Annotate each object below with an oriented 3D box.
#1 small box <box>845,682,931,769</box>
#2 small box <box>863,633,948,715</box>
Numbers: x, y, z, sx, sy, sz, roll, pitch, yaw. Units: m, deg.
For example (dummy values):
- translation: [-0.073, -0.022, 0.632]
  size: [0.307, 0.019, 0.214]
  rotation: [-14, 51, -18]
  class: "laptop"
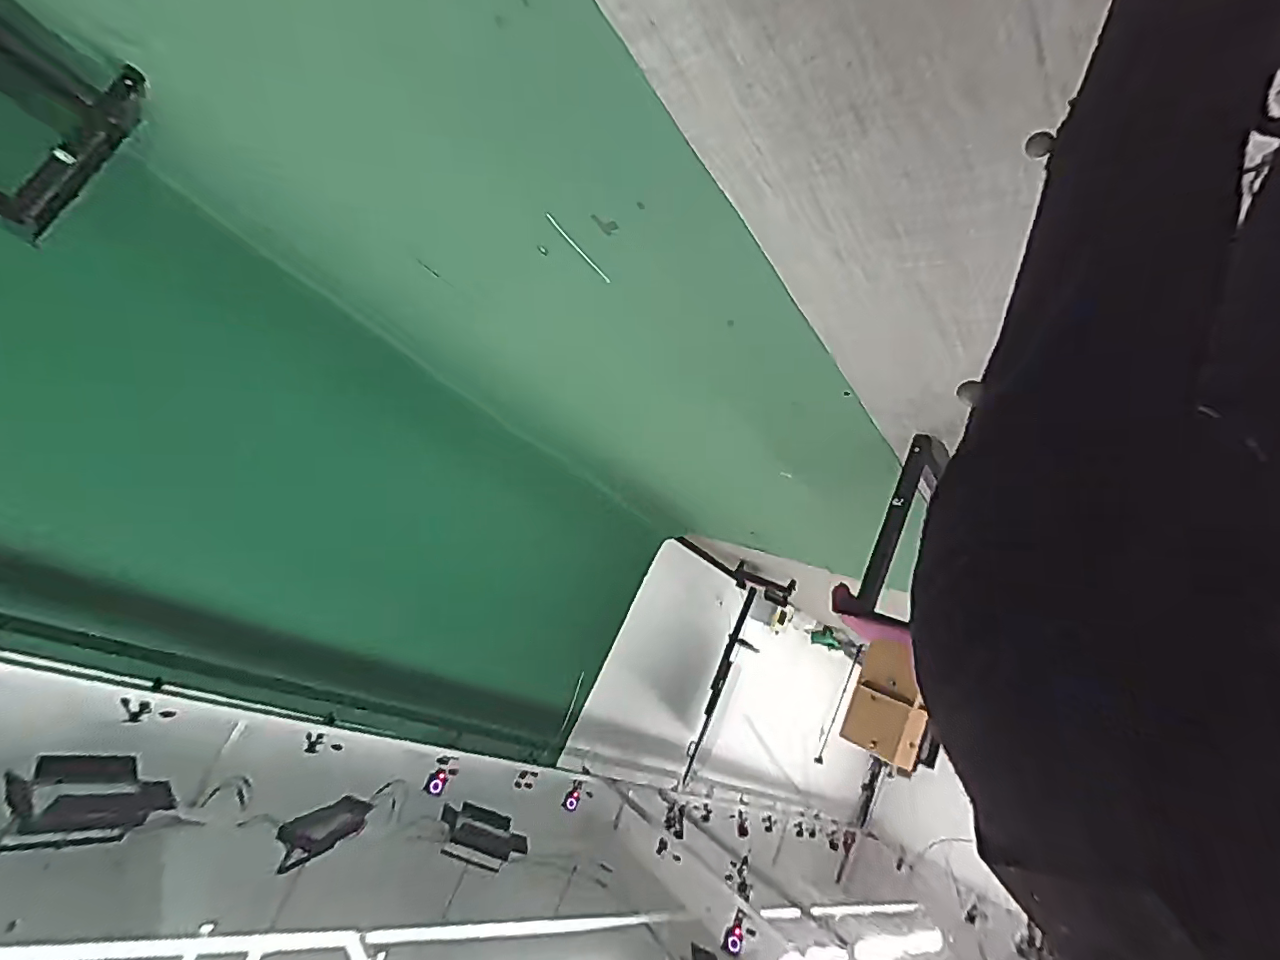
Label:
- translation: [0.744, 0.728, 1.611]
  size: [0.168, 0.176, 0.179]
  rotation: [10, 160, 47]
  class: "small box"
- translation: [0.824, 0.592, 1.662]
  size: [0.179, 0.176, 0.168]
  rotation: [10, 159, 50]
  class: "small box"
